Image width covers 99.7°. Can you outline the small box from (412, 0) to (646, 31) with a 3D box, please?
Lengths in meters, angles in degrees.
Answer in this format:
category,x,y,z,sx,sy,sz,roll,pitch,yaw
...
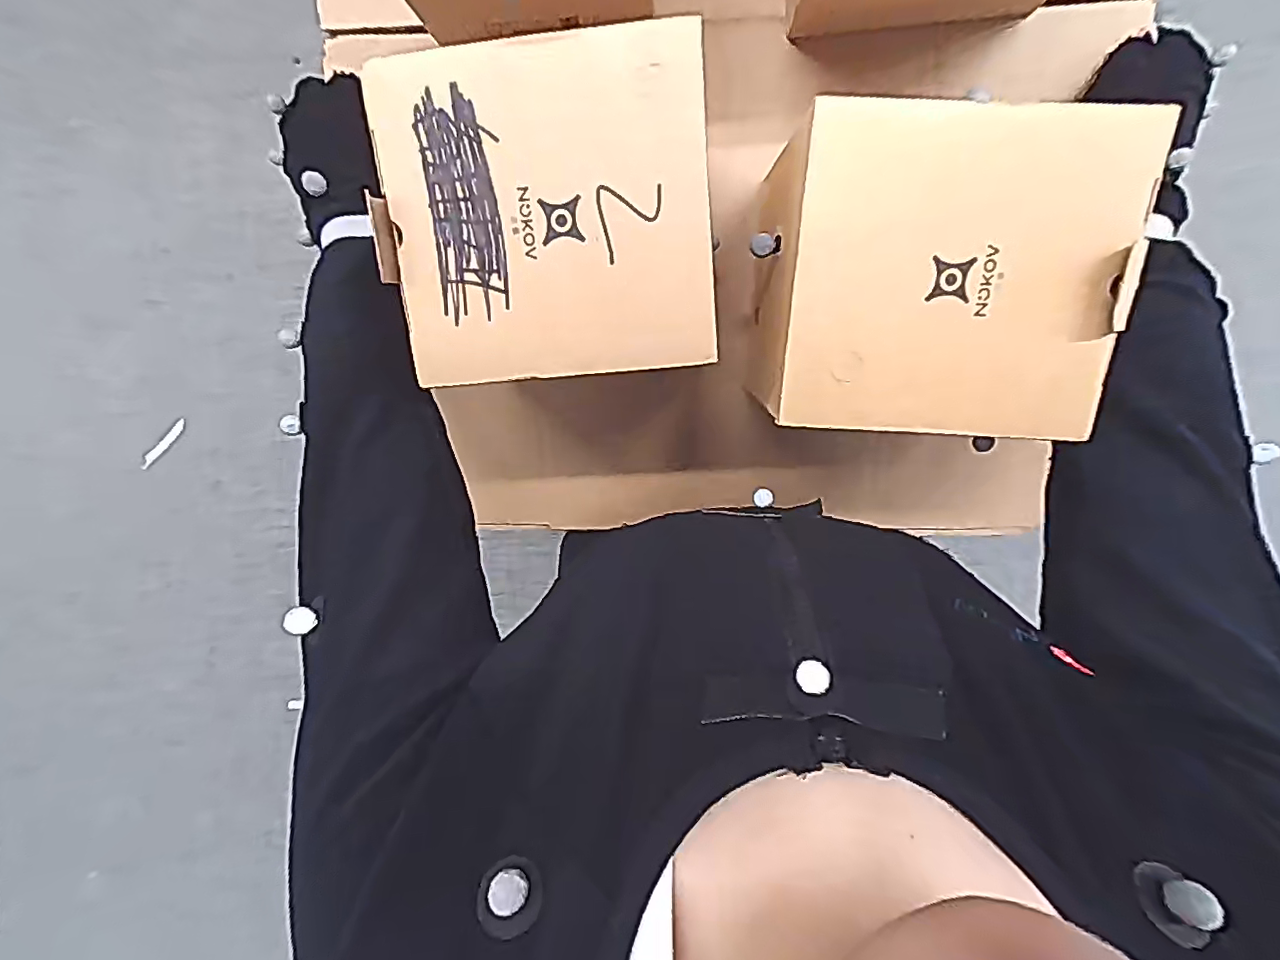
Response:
category,x,y,z,sx,sy,sz,roll,pitch,yaw
small box,-0.082,-0.395,0.308,0.168,0.176,0.179,-1,104,3

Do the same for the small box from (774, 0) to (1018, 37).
category,x,y,z,sx,sy,sz,roll,pitch,yaw
small box,0.177,-0.383,0.294,0.179,0.176,0.168,-2,105,5
